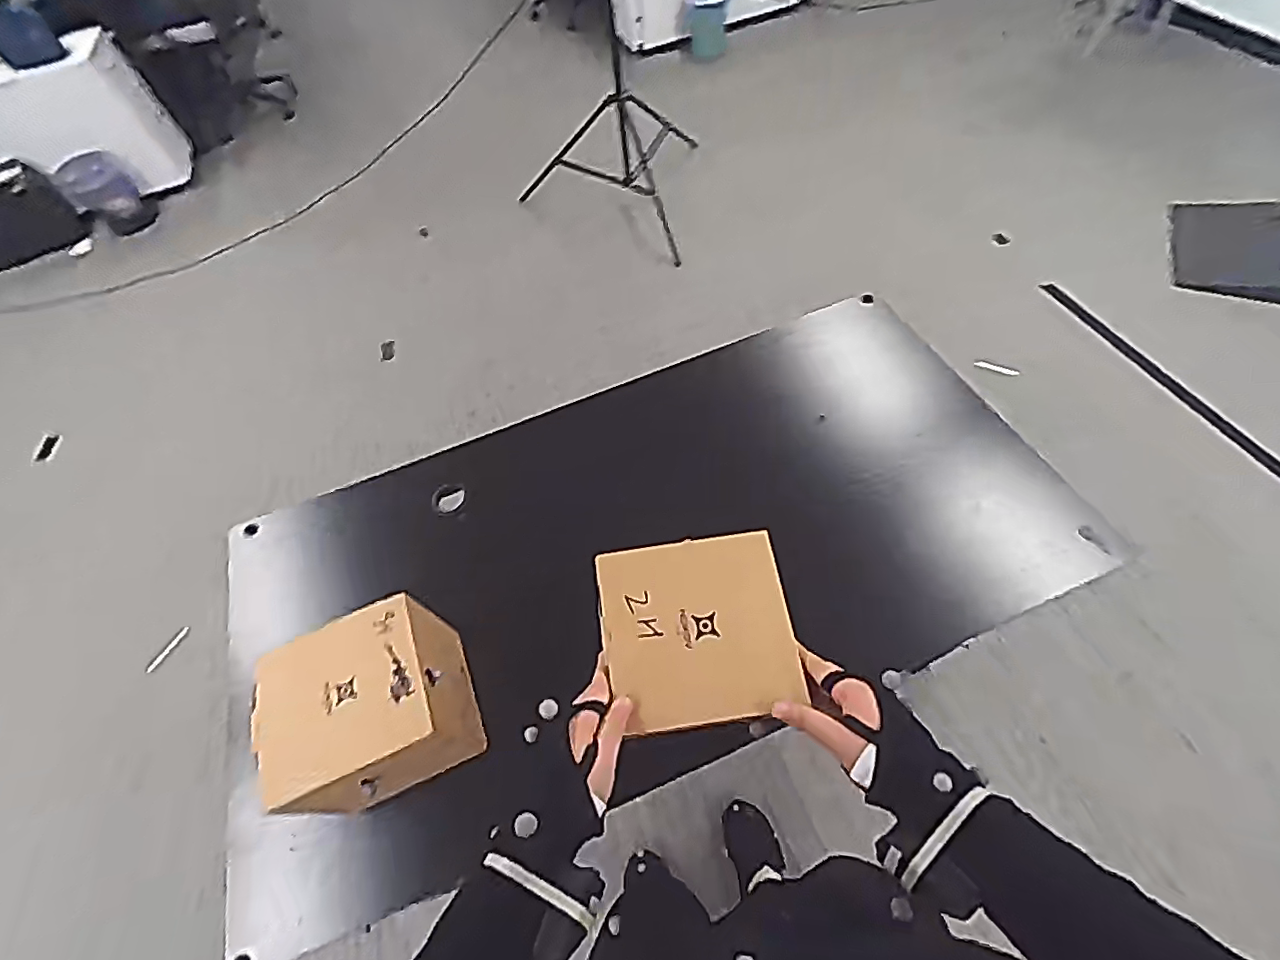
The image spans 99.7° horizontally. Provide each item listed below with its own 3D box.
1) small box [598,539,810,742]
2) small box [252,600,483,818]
[{"bbox_3d":[0.056,0.175,0.571,0.179,0.176,0.168,-8,64,0],"label":"small box"},{"bbox_3d":[-0.313,0.274,0.638,0.179,0.176,0.168,-24,59,-8],"label":"small box"}]
